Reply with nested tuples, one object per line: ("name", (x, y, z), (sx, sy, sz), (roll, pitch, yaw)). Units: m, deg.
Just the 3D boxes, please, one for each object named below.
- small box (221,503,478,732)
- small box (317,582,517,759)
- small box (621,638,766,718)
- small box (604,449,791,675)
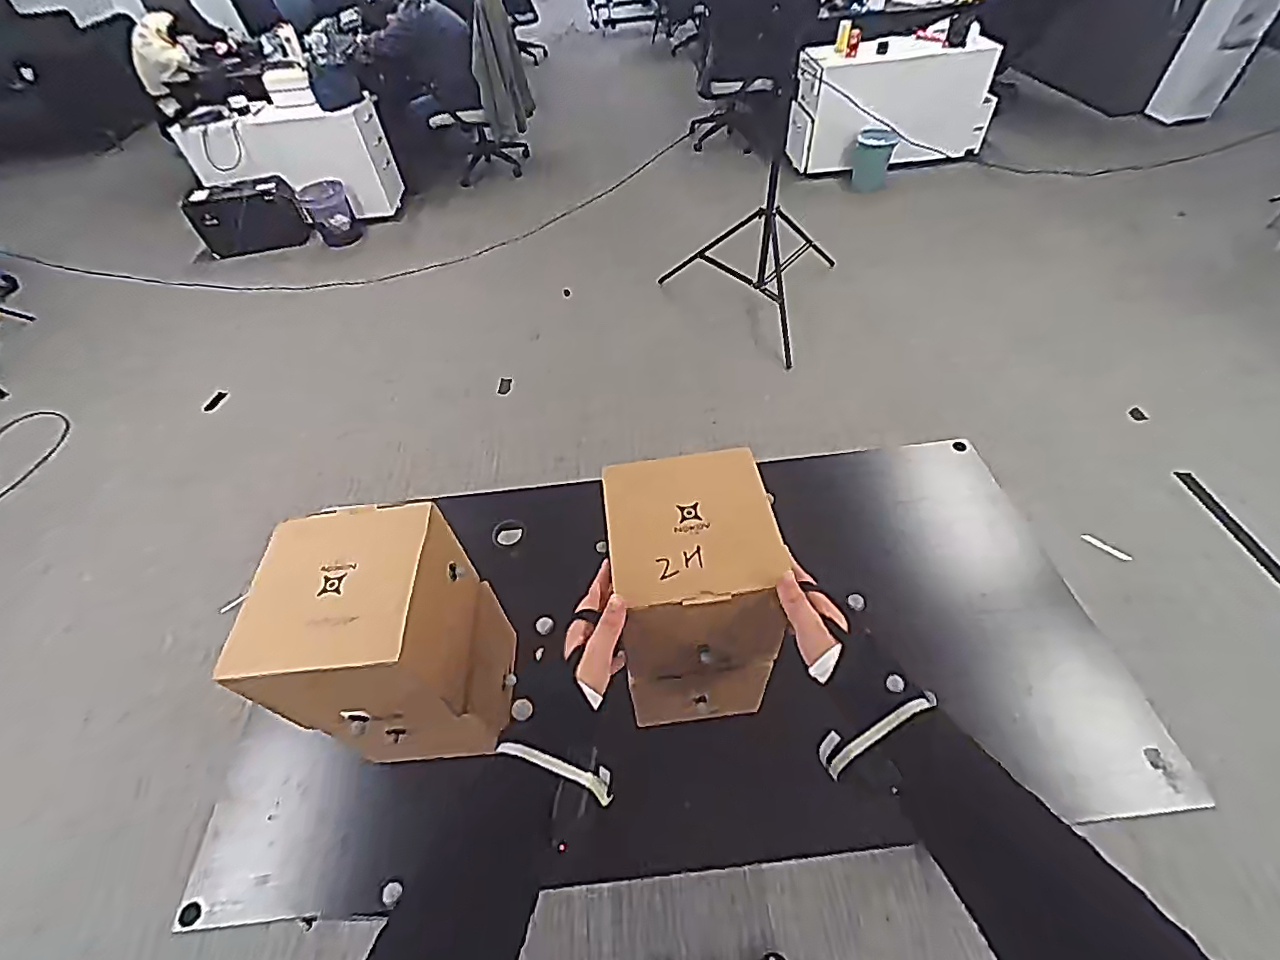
("small box", (-0.284, 0.149, 0.582), (0.168, 0.176, 0.179), (-7, 51, 1))
("small box", (-0.272, 0.253, 0.707), (0.179, 0.176, 0.168), (-5, 50, -1))
("small box", (0.062, 0.204, 0.723), (0.168, 0.176, 0.179), (-8, 50, -1))
("small box", (0.053, 0.092, 0.600), (0.168, 0.176, 0.179), (-8, 49, -1))
